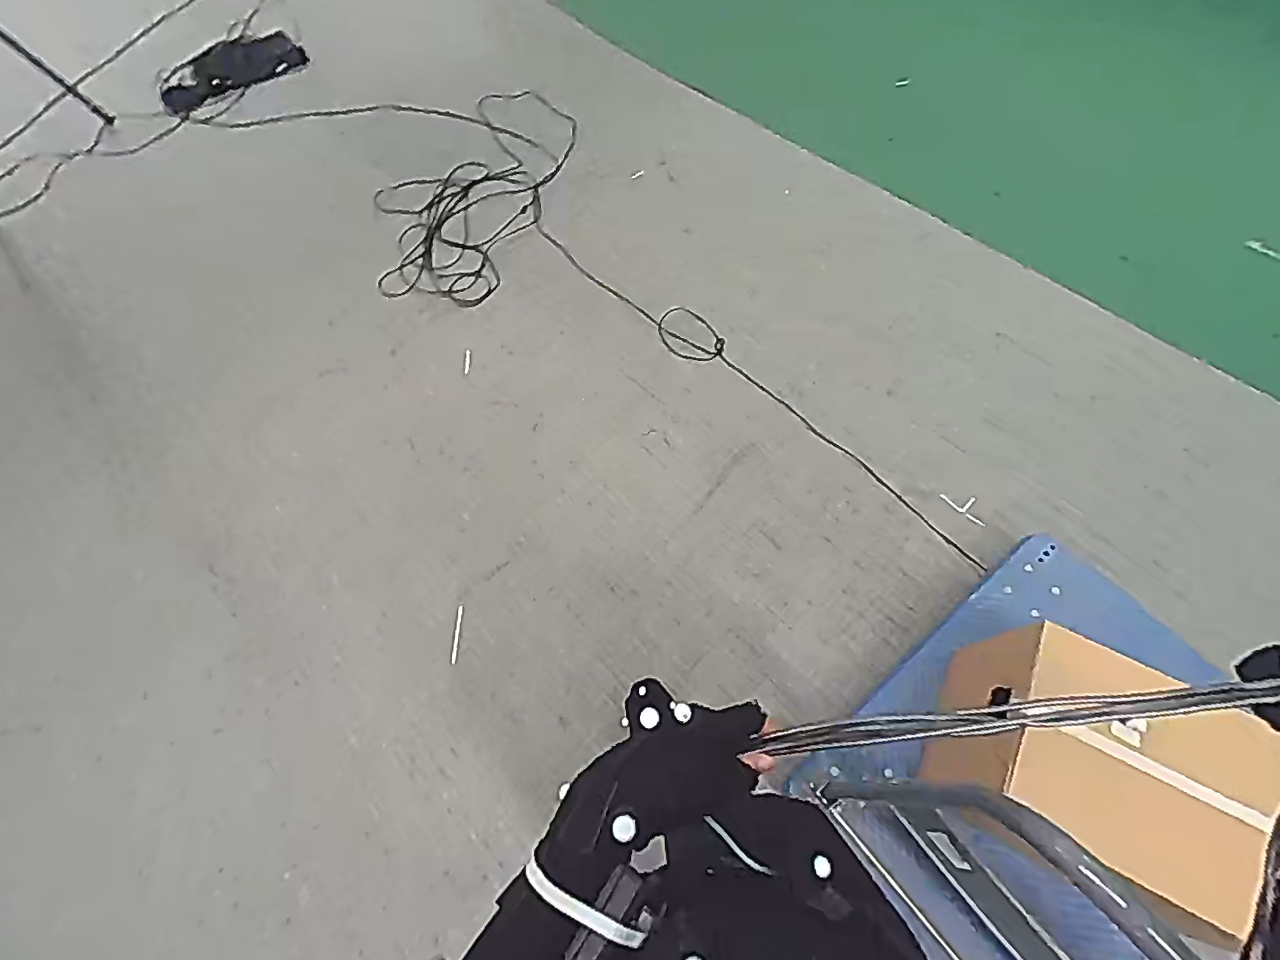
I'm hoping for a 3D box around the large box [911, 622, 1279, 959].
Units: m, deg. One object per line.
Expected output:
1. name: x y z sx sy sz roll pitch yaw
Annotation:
1. large box: 0.775 0.505 0.948 0.408 0.320 0.320 26 67 14
